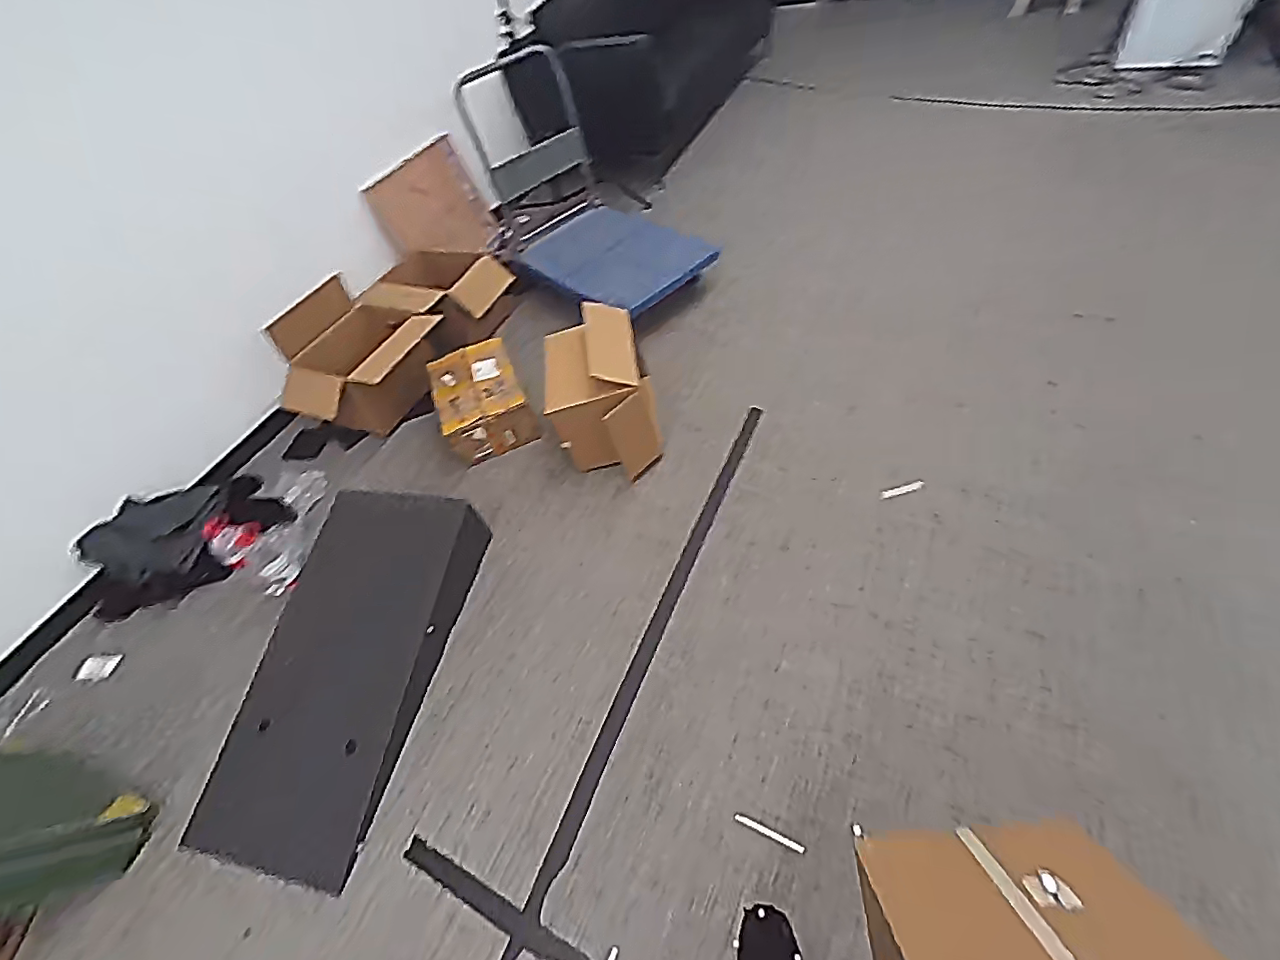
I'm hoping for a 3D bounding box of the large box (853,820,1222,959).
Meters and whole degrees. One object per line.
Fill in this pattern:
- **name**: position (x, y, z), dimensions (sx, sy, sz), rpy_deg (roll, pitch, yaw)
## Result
- **large box**: position (0.476, 0.665, 0.605), dimensions (0.320, 0.408, 0.320), rpy_deg (-7, 88, 5)
